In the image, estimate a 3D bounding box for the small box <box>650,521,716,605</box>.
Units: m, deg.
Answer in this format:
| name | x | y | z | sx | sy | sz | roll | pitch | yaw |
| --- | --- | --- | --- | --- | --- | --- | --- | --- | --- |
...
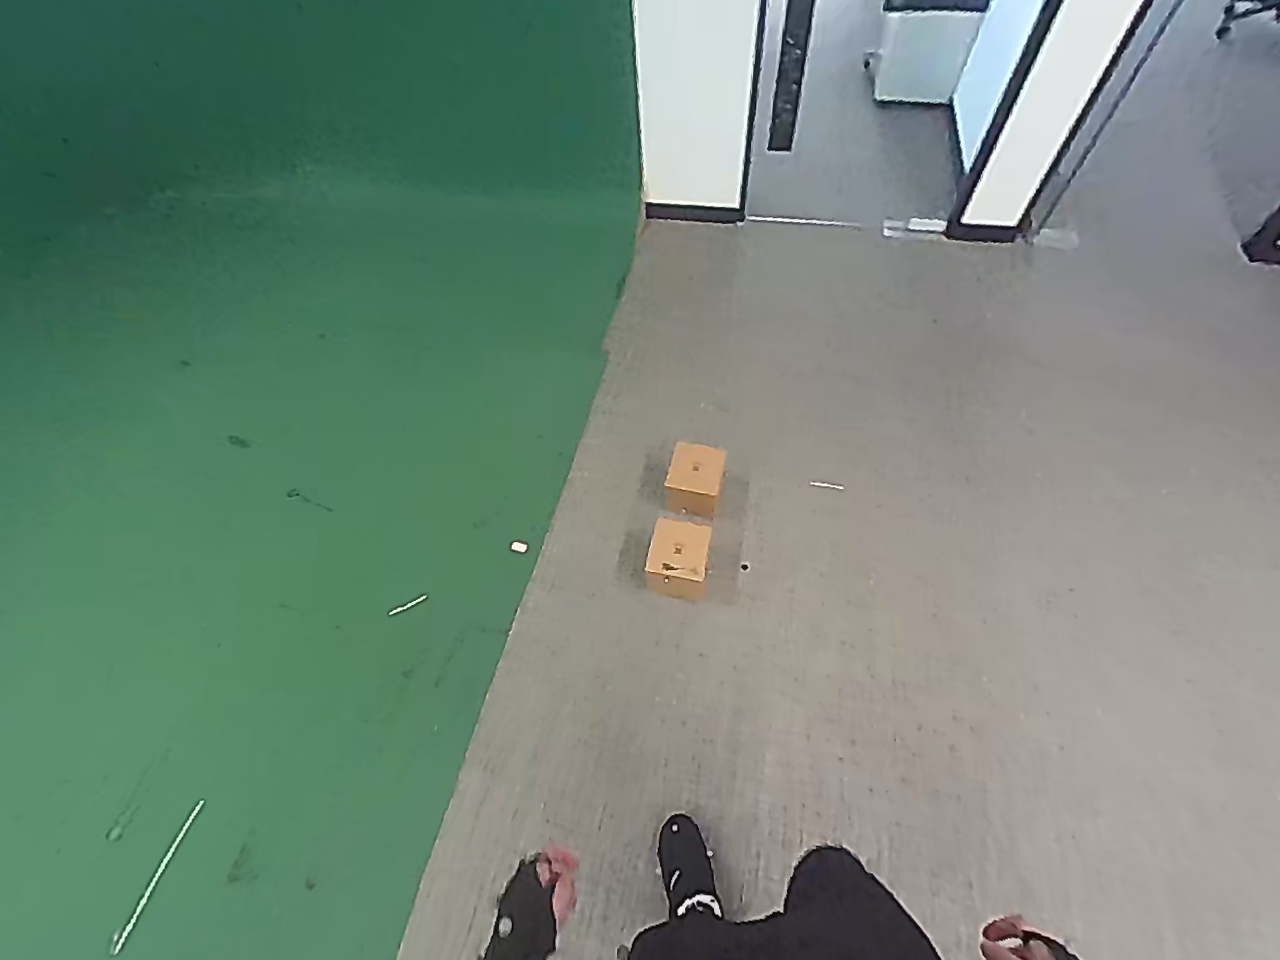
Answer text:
| name | x | y | z | sx | sy | sz | roll | pitch | yaw |
| --- | --- | --- | --- | --- | --- | --- | --- | --- | --- |
| small box | 0.130 | 0.249 | 1.612 | 0.168 | 0.176 | 0.179 | 9 | 58 | 11 |
